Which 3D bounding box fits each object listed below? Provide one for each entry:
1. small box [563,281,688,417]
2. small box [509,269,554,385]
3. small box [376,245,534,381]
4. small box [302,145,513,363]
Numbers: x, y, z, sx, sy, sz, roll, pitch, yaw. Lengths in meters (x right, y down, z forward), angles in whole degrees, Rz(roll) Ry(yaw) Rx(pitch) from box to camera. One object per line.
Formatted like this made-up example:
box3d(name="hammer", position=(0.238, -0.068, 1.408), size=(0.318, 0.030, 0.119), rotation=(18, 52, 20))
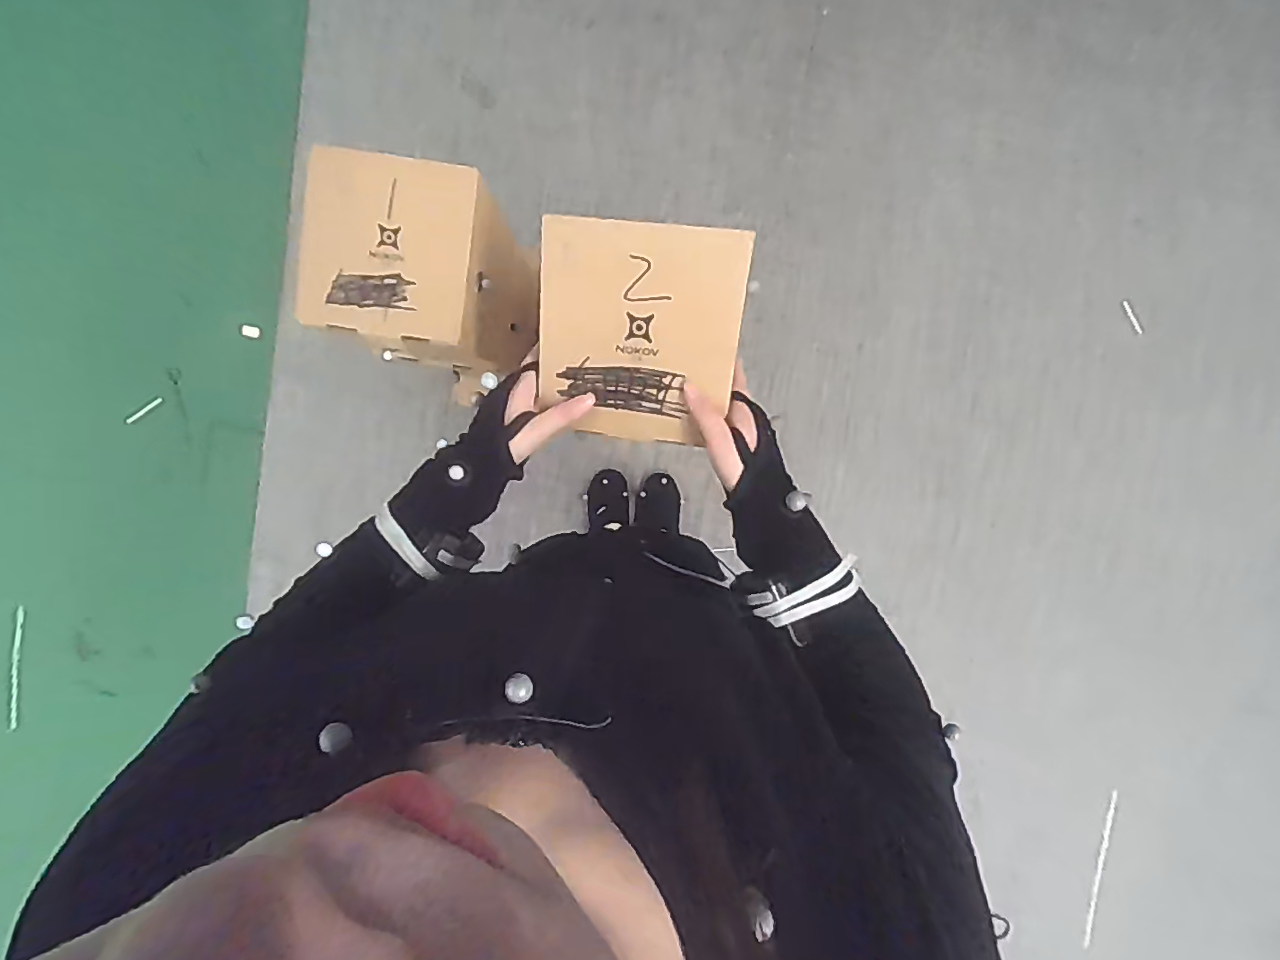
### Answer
box3d(name="small box", position=(-0.023, -0.216, 0.939), size=(0.168, 0.176, 0.179), rotation=(15, 94, 1))
box3d(name="small box", position=(-0.251, -0.267, 0.941), size=(0.168, 0.176, 0.179), rotation=(10, 94, -2))
box3d(name="small box", position=(-0.254, -0.243, 0.778), size=(0.168, 0.176, 0.179), rotation=(8, 95, -2))
box3d(name="small box", position=(-0.248, -0.237, 0.614), size=(0.168, 0.176, 0.179), rotation=(7, 94, -2))
